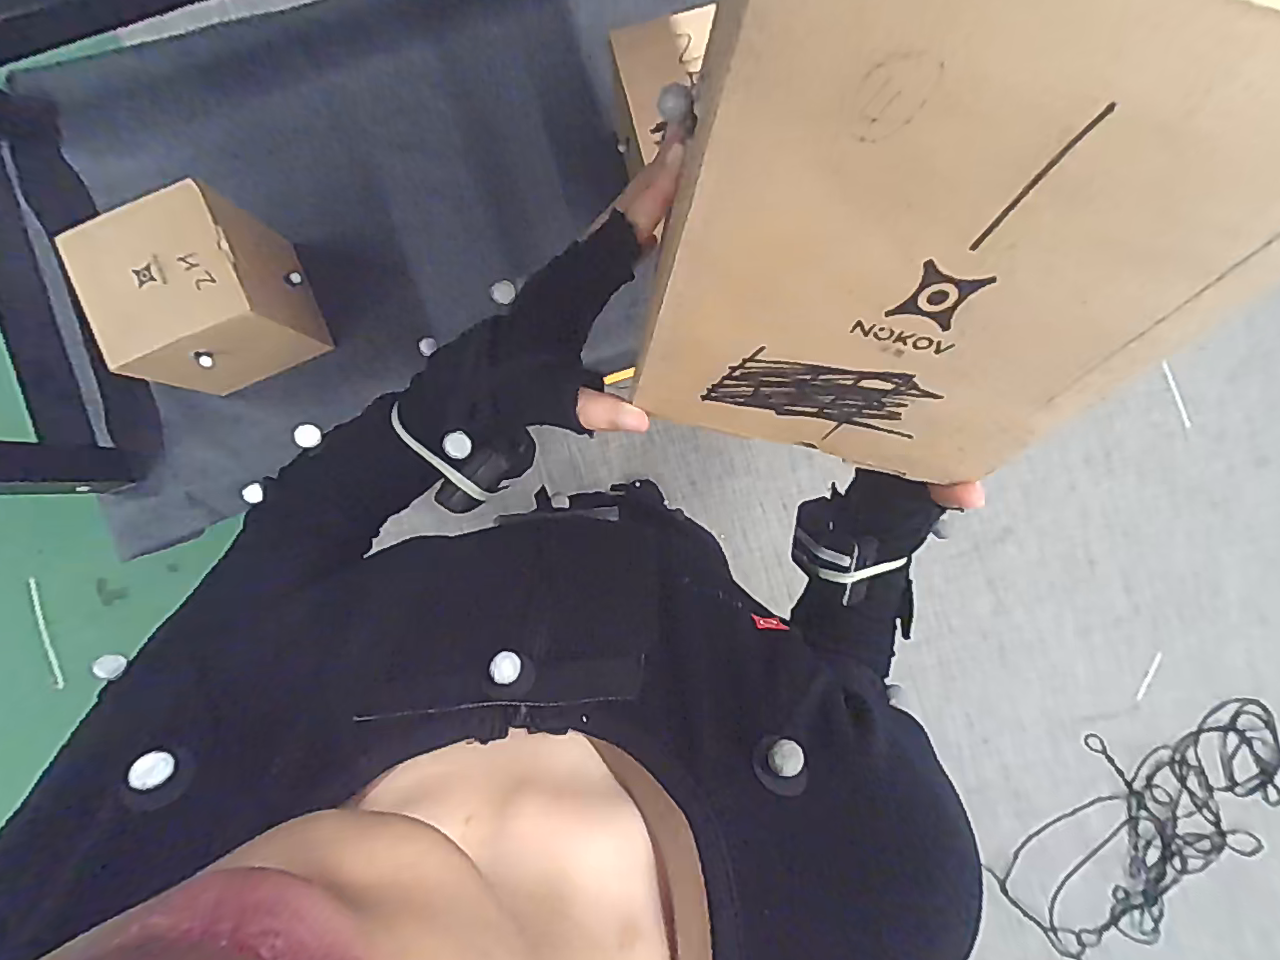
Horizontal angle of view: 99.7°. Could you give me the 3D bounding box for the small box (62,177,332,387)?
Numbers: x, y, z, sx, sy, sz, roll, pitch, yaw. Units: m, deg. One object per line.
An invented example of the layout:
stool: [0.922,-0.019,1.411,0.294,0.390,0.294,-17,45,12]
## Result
small box: [-0.542,-0.234,0.687,0.179,0.176,0.168,-23,90,-1]
